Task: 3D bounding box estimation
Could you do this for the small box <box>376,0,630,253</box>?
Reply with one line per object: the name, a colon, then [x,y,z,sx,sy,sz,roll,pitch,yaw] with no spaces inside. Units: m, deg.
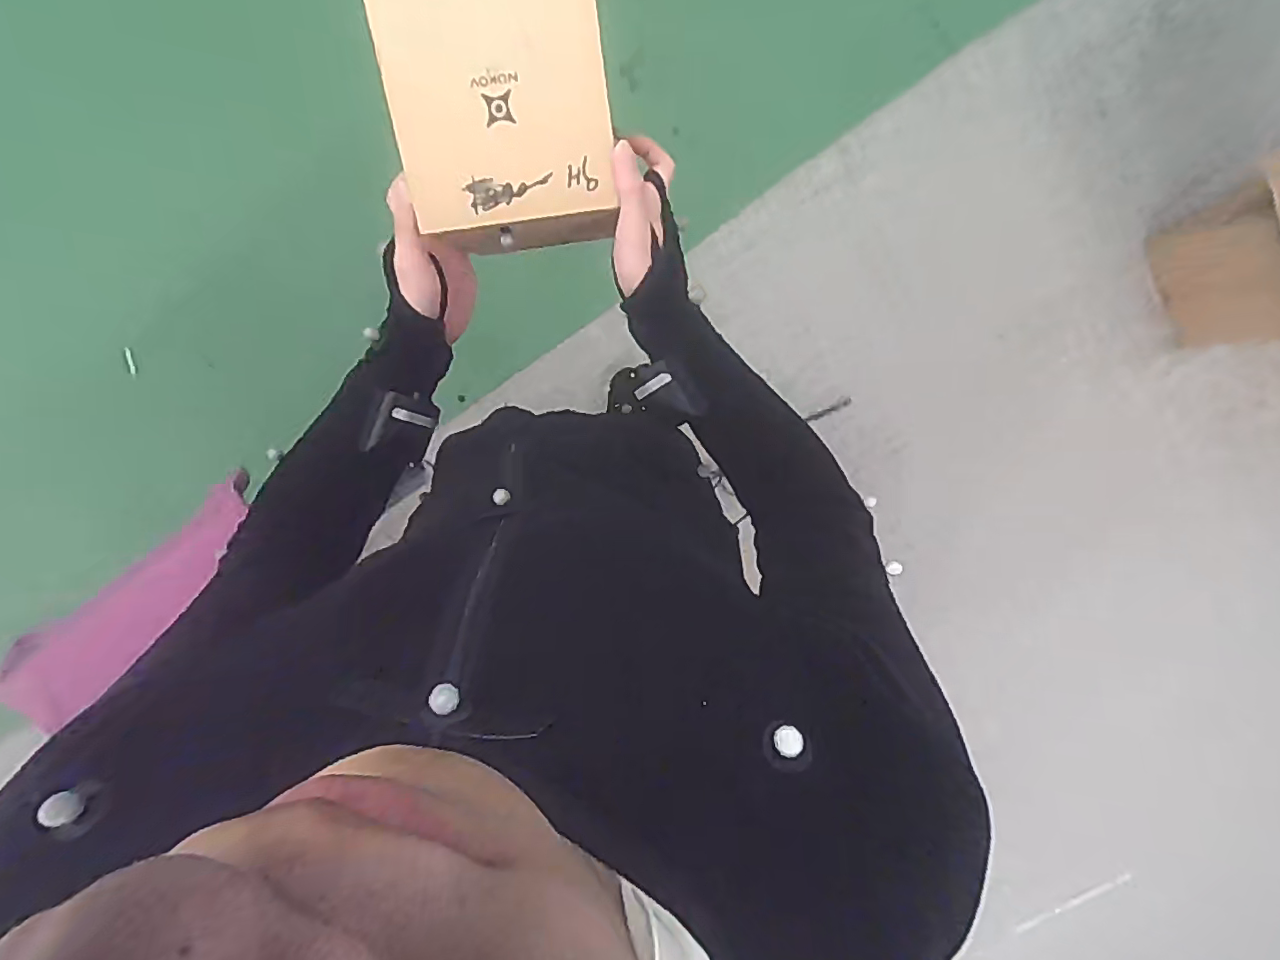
small box: [-0.100,-0.309,0.471,0.168,0.176,0.179,-7,107,1]
